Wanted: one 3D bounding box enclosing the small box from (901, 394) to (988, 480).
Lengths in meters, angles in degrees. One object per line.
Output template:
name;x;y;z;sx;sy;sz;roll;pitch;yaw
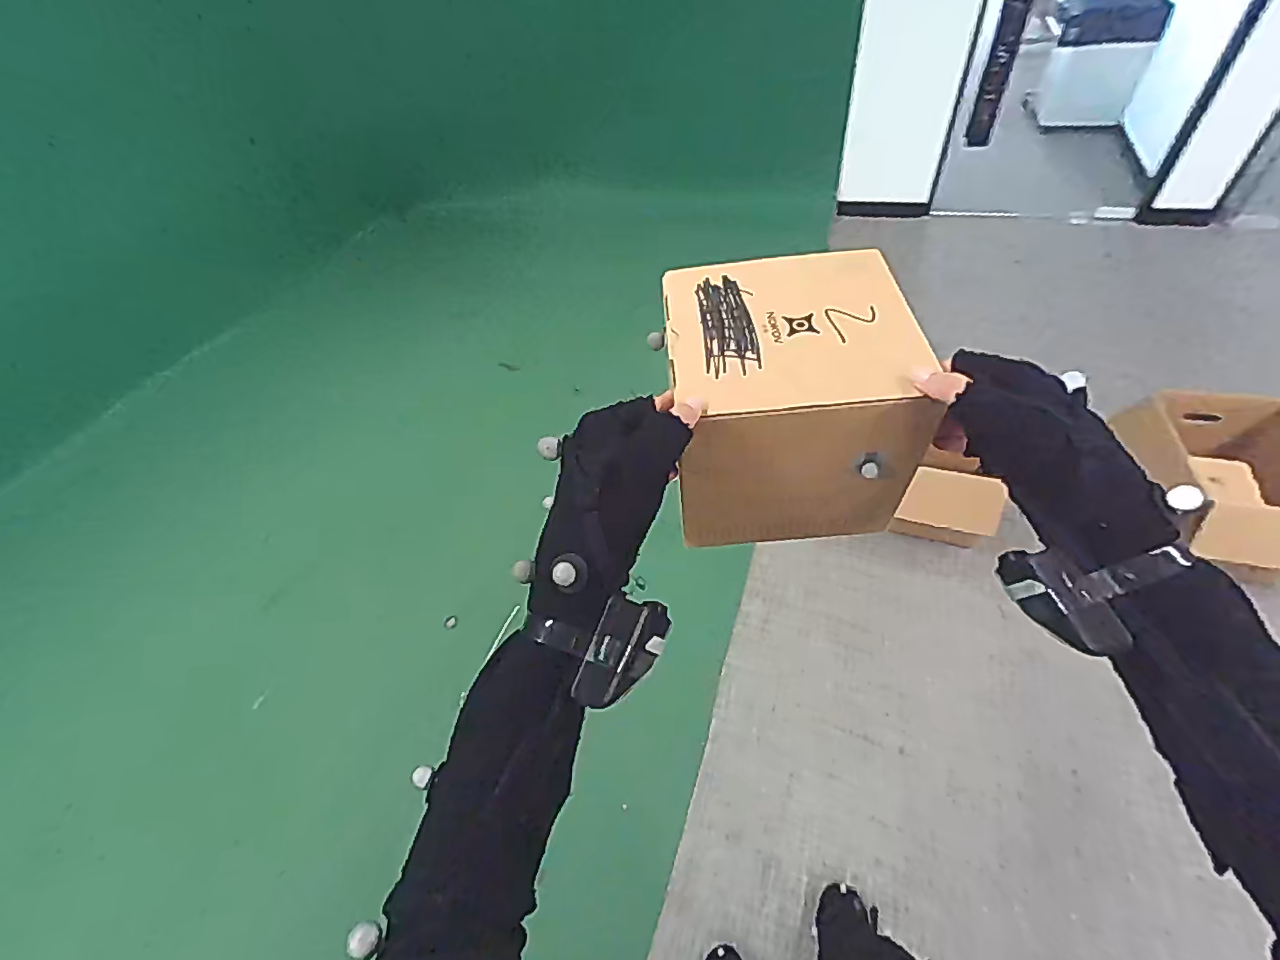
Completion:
small box;0.896;-0.123;1.595;0.179;0.176;0.168;15;52;20
